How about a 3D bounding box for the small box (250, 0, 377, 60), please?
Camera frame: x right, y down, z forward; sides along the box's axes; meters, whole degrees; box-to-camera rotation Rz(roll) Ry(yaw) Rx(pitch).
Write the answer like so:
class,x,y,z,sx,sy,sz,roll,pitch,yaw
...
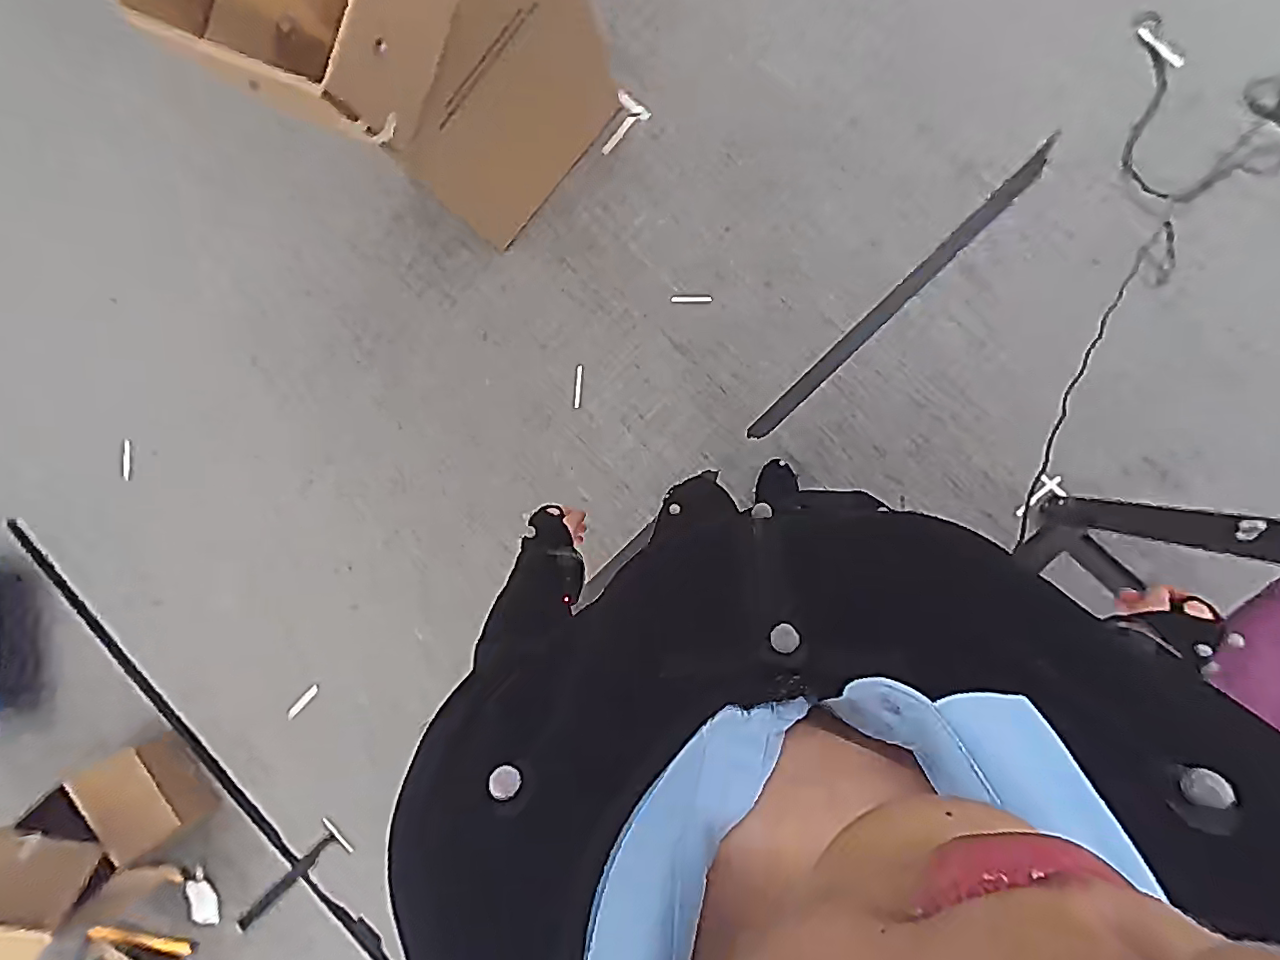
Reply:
class,x,y,z,sx,sy,sz,roll,pitch,yaw
small box,-0.524,-0.806,0.823,0.168,0.176,0.179,25,97,6
